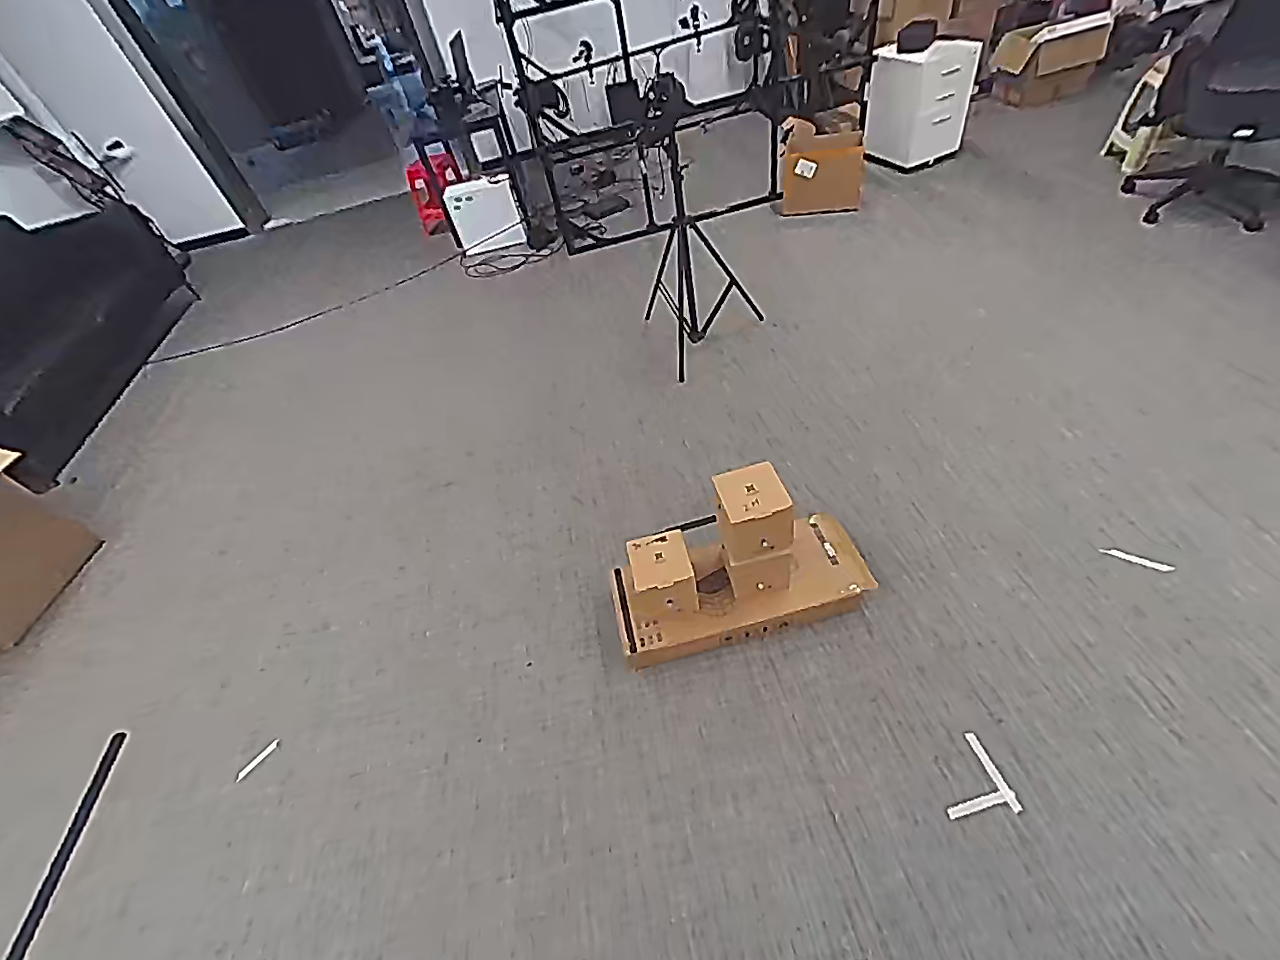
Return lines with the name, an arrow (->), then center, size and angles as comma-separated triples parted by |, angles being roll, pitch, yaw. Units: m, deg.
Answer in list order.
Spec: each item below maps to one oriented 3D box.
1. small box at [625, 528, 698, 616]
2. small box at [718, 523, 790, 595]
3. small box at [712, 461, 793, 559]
small box -> 0.064, 0.273, 1.559 | 0.168, 0.176, 0.179 | -15, 47, 1
small box -> 0.325, 0.206, 1.562 | 0.168, 0.176, 0.179 | -13, 46, 2
small box -> 0.299, 0.082, 1.454 | 0.168, 0.176, 0.179 | -16, 46, -1
